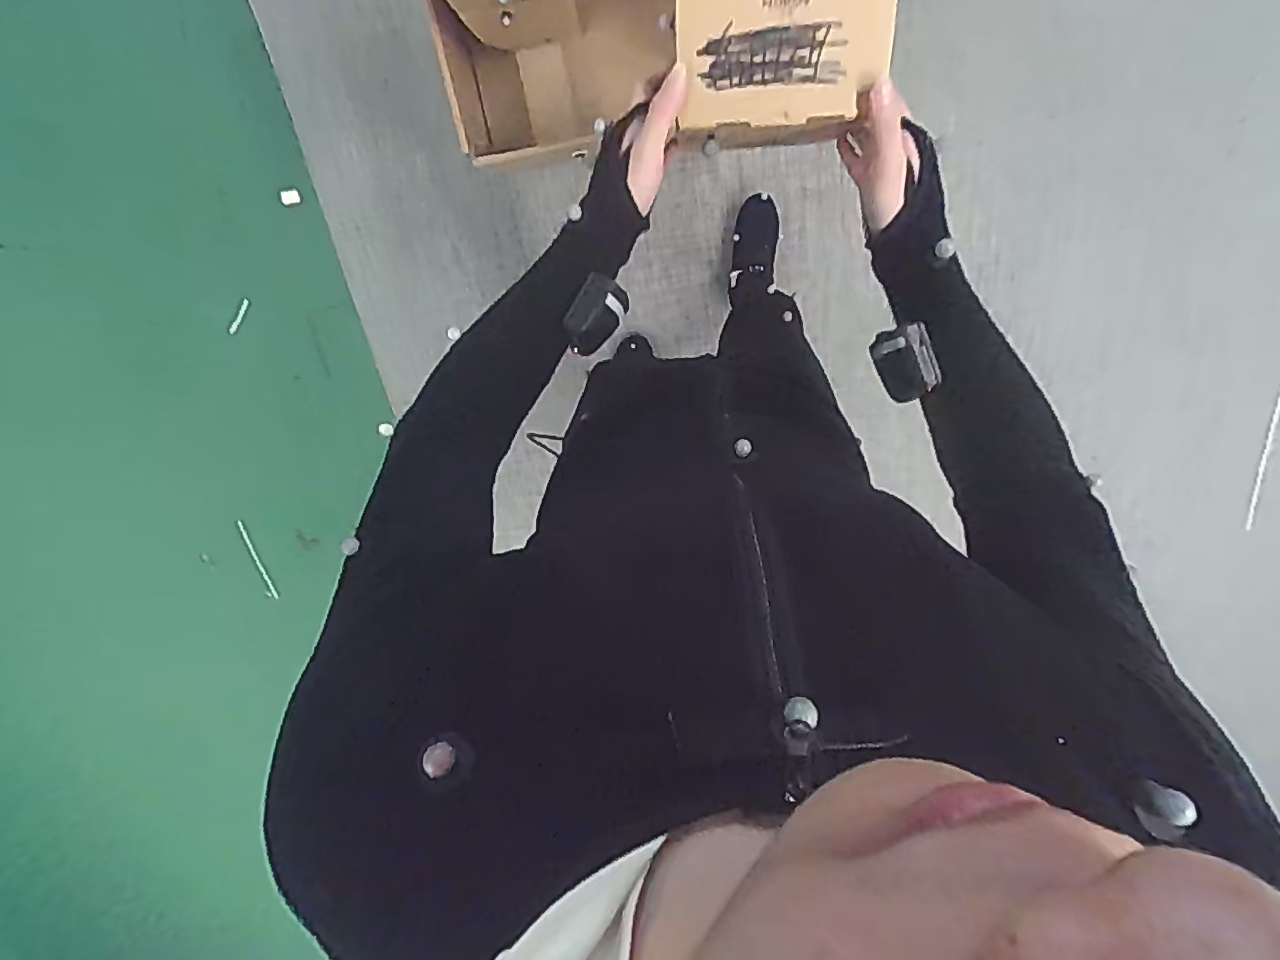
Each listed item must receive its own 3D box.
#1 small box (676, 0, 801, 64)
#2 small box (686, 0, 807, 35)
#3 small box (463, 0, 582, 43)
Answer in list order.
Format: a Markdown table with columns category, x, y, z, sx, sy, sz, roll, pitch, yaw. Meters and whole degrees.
| category | x | y | z | sx | sy | sz | roll | pitch | yaw |
| --- | --- | --- | --- | --- | --- | --- | --- | --- | --- |
| small box | 0.140 | -0.760 | 0.812 | 0.168 | 0.176 | 0.179 | -8 | 111 | 5 |
| small box | 0.134 | -0.696 | 0.662 | 0.168 | 0.176 | 0.179 | -9 | 112 | 6 |
| small box | -0.187 | -0.800 | 0.809 | 0.168 | 0.176 | 0.179 | -6 | 112 | 4 |
